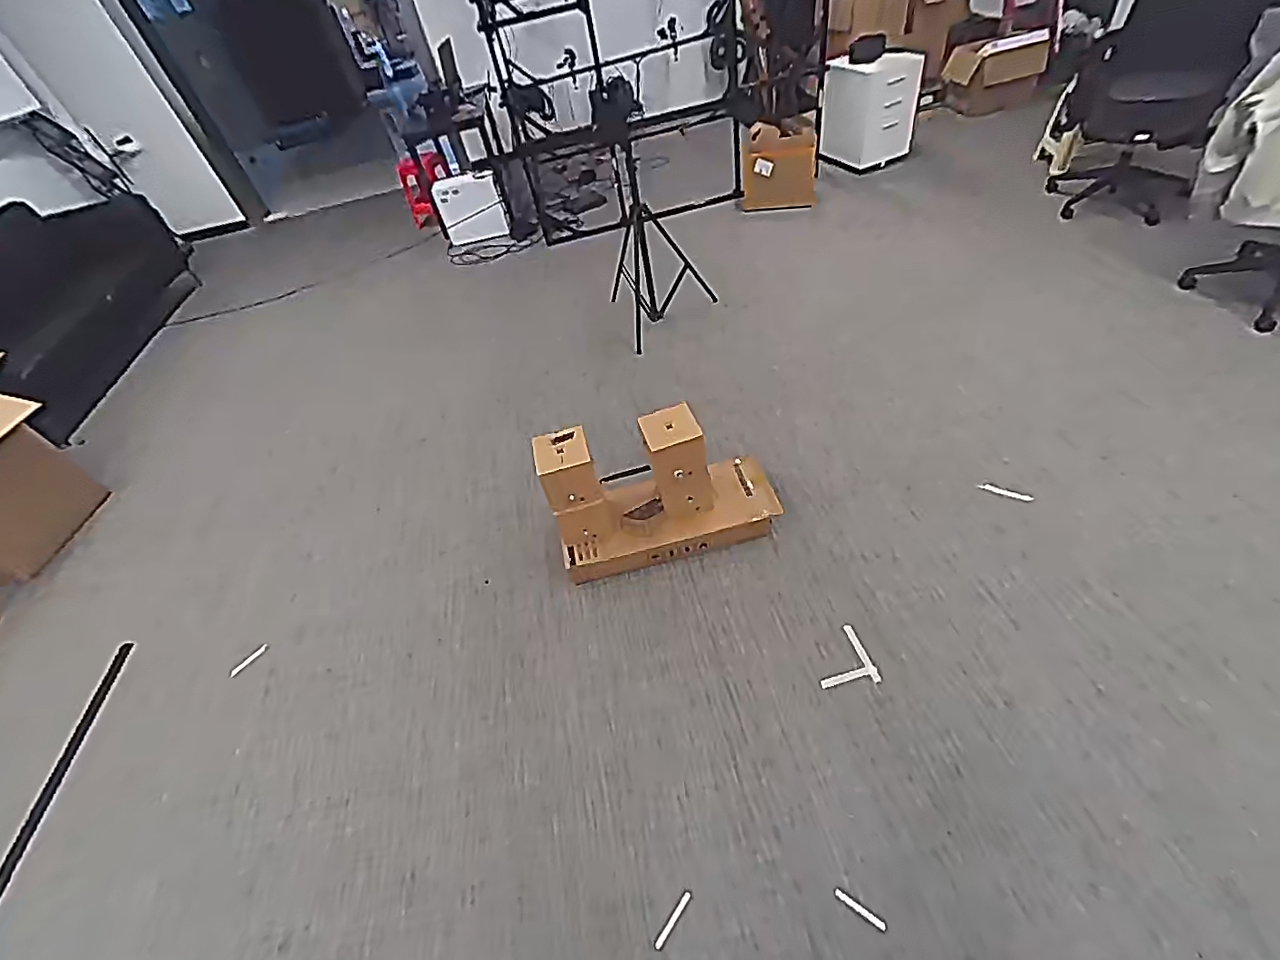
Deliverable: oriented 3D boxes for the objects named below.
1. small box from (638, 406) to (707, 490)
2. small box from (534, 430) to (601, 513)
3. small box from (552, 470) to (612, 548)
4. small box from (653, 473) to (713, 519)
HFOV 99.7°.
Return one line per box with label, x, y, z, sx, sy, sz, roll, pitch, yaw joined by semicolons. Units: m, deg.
small box;0.104;-0.100;1.707;0.168;0.176;0.179;-19;45;-4
small box;-0.228;-0.027;1.706;0.168;0.176;0.179;-16;45;-3
small box;-0.198;0.097;1.810;0.168;0.176;0.179;-15;45;-2
small box;0.141;0.011;1.823;0.168;0.176;0.179;-17;46;-2
